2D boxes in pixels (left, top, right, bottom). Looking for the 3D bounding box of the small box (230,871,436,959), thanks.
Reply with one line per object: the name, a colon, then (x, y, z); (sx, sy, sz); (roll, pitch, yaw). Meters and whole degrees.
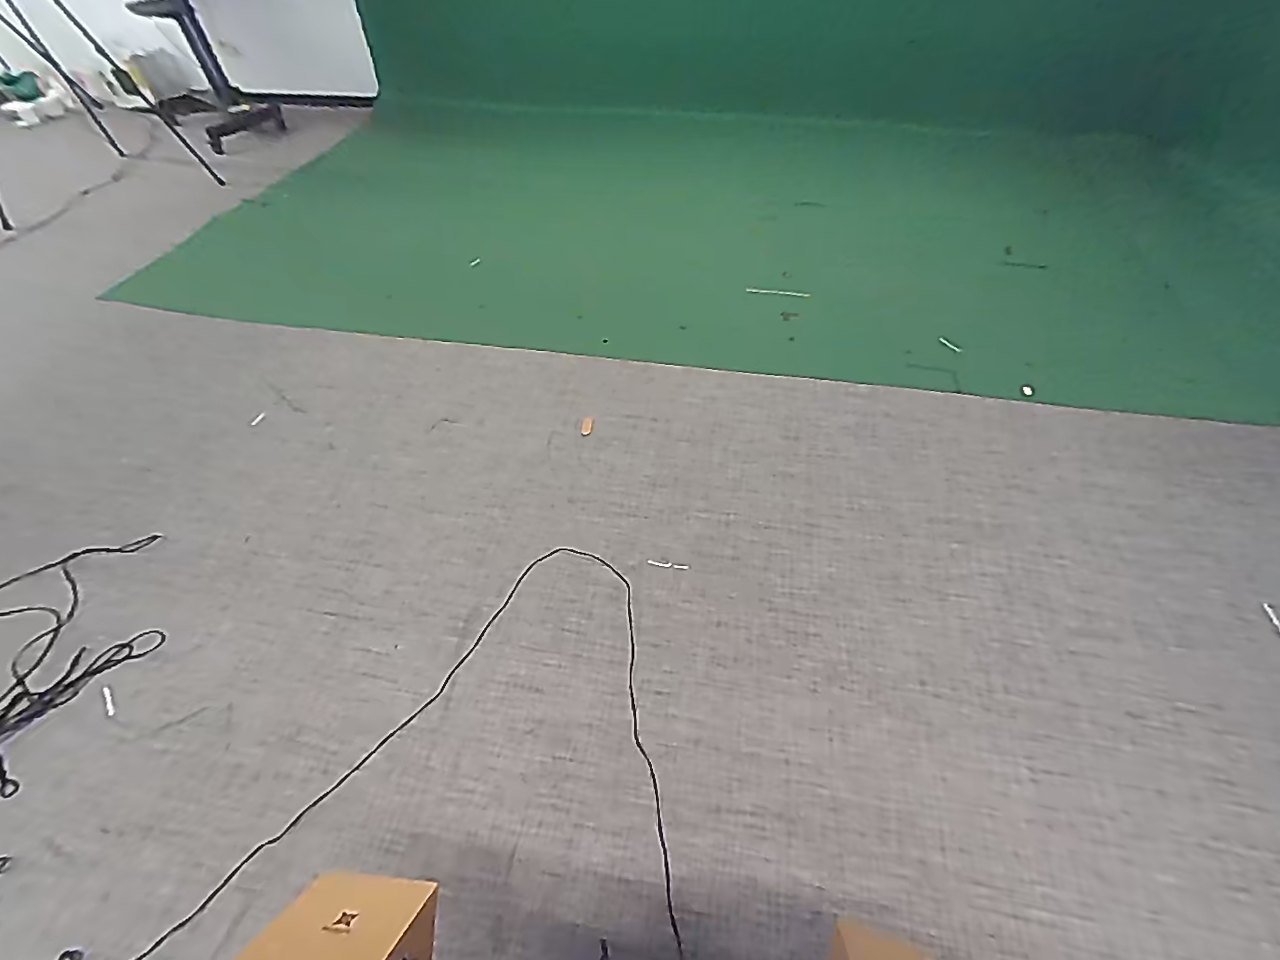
small box: (-0.372, 0.625, 0.657); (0.168, 0.179, 0.176); (3, 85, 4)
